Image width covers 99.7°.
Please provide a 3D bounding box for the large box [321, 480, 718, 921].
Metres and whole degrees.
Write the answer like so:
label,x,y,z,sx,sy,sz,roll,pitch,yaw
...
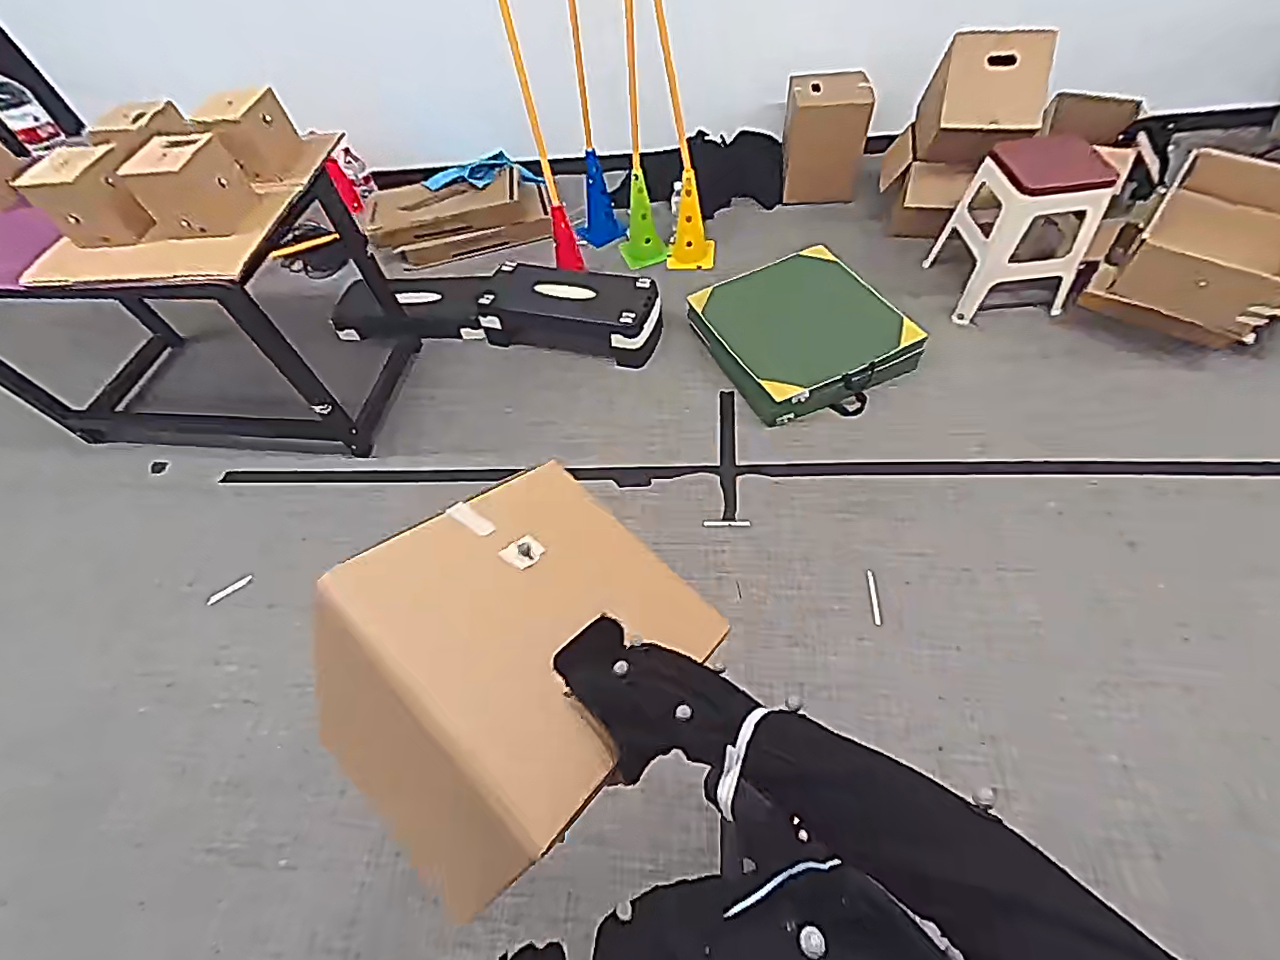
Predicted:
label,x,y,z,sx,sy,sz,roll,pitch,yaw
large box,-0.171,0.276,0.700,0.320,0.408,0.320,42,42,16
